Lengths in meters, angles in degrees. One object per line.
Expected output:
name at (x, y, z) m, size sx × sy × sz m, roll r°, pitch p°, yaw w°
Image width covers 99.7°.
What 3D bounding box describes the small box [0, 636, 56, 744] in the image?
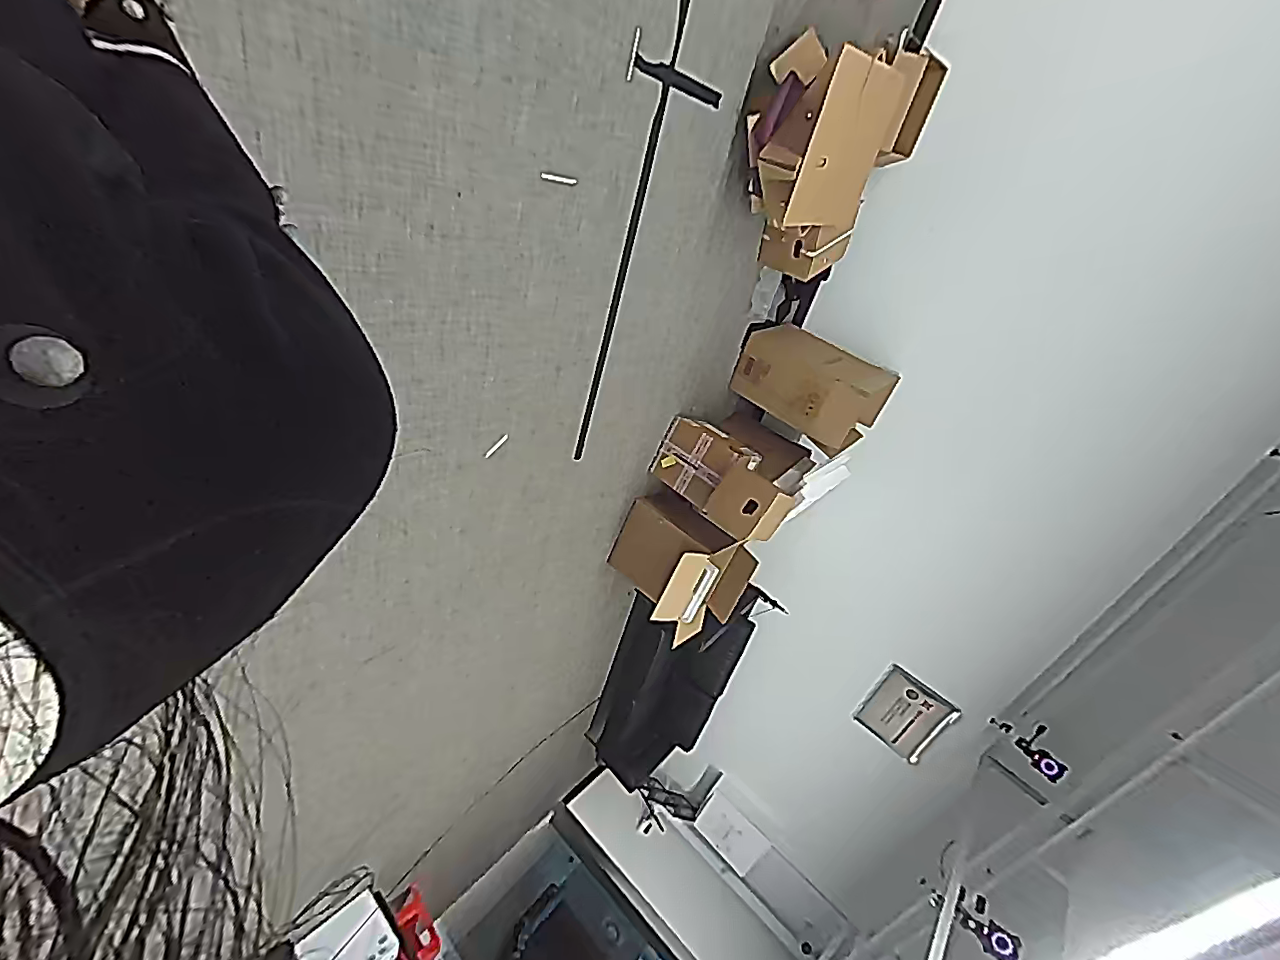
small box at (-1.523, 0.503, 1.265) m, size 0.179 × 0.176 × 0.168 m, roll -18°, pitch 136°, yaw -51°
